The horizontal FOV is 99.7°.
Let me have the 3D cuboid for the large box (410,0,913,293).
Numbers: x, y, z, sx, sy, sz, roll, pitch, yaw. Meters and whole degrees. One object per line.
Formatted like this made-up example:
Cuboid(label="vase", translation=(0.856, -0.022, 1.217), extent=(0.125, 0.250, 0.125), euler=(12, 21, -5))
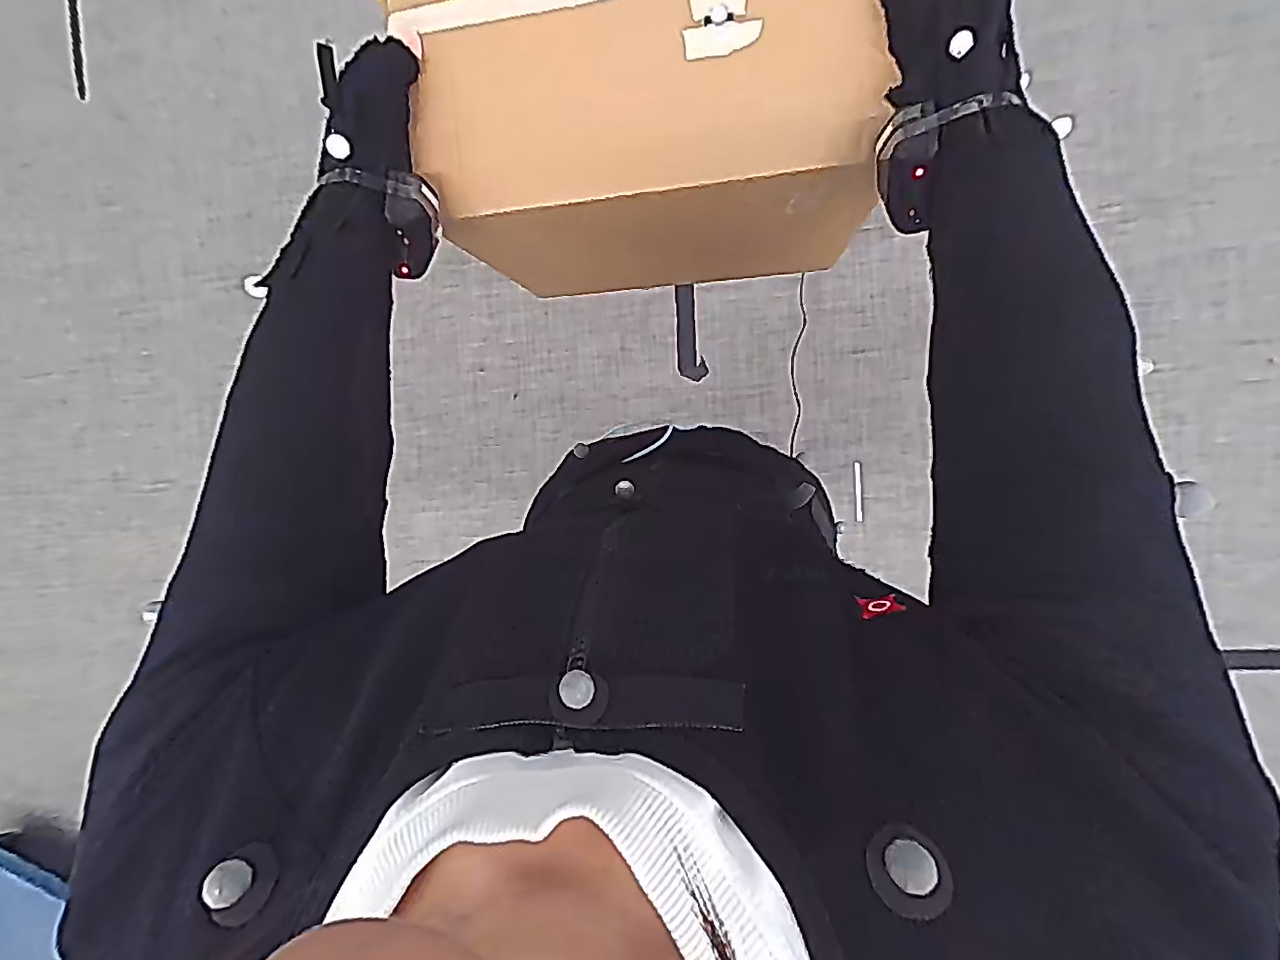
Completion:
Cuboid(label="large box", translation=(0.022, -0.411, 0.575), extent=(0.408, 0.320, 0.320), euler=(-3, 97, 9))
